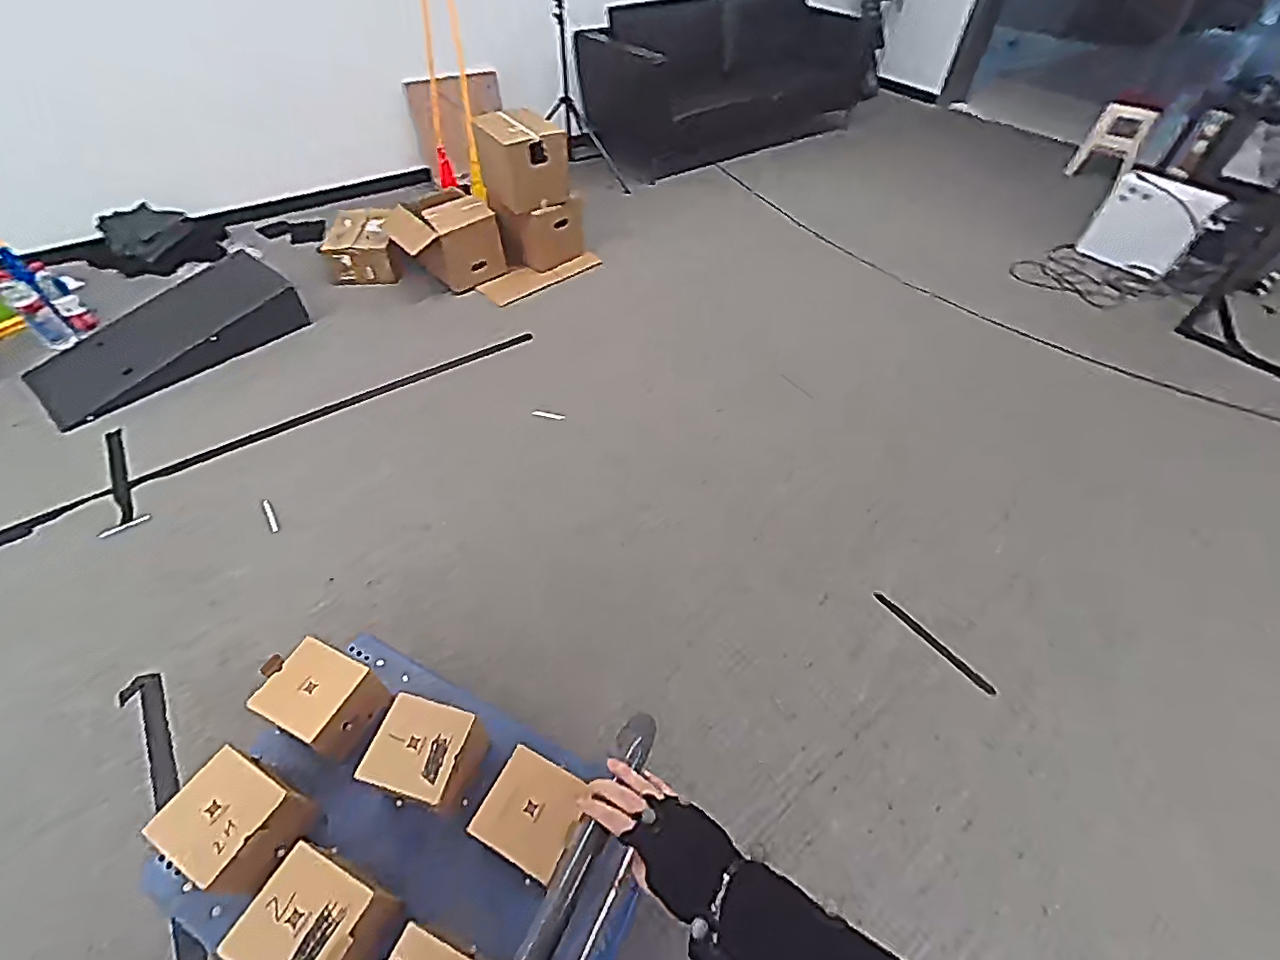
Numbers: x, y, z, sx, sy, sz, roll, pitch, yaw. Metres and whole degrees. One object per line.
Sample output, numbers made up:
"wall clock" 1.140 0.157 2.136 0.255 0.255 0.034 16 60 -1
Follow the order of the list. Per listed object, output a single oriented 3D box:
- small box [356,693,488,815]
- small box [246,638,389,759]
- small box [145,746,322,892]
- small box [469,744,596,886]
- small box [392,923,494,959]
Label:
"small box" -0.432 0.567 1.109 0.179 0.176 0.168 12 50 8
"small box" -0.682 0.478 1.171 0.179 0.176 0.168 20 51 13
"small box" -0.754 0.644 1.021 0.179 0.176 0.168 24 53 16
"small box" -0.196 0.653 1.049 0.179 0.176 0.168 22 51 16
"small box" -0.326 0.851 0.869 0.179 0.176 0.168 20 50 13
